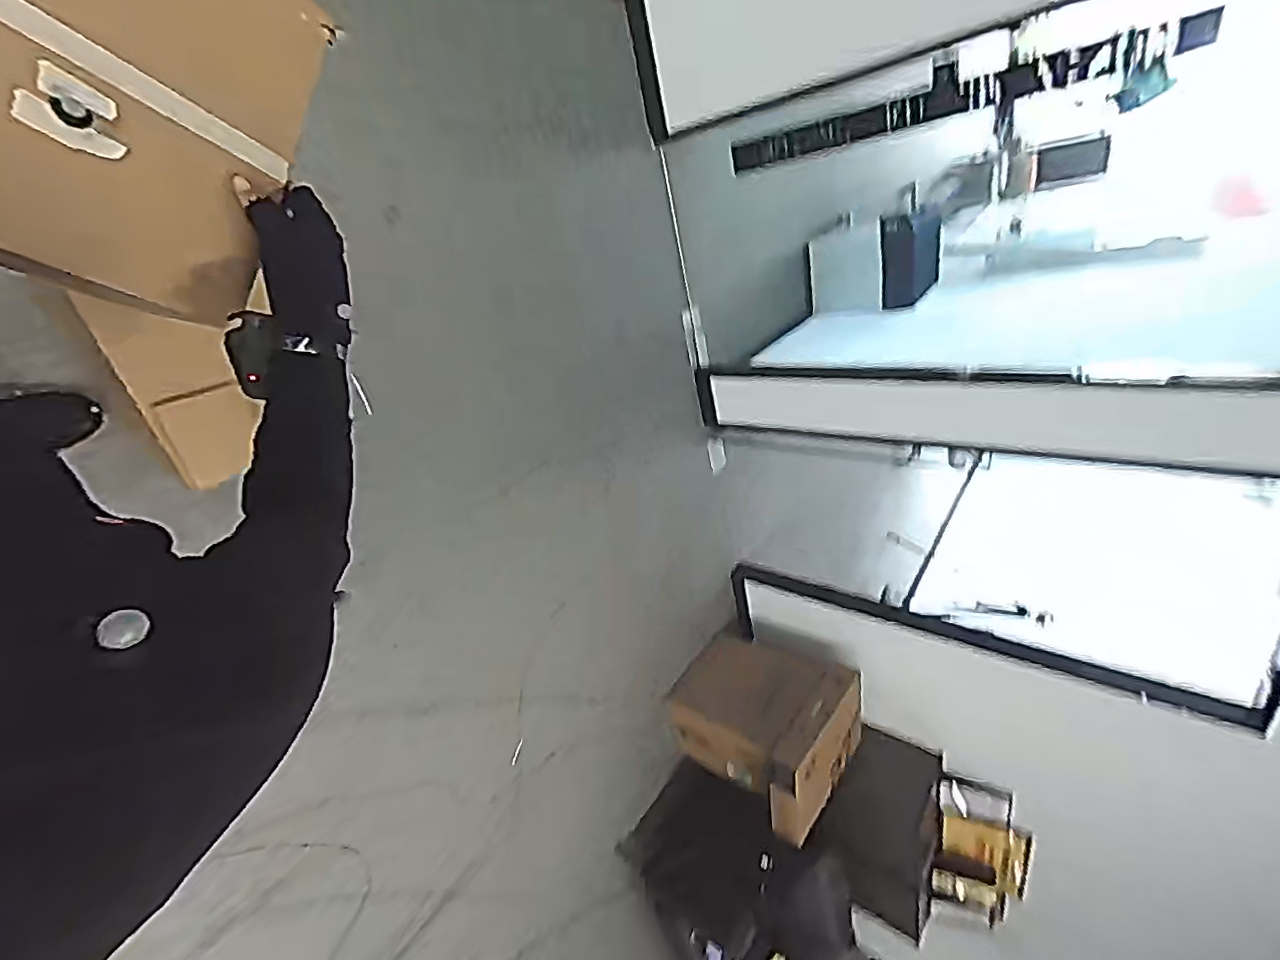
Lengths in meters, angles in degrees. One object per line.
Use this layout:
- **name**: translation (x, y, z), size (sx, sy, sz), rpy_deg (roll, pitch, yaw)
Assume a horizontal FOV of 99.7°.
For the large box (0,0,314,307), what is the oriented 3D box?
- **large box**: translation (-0.568, -0.365, 0.419), size (0.408, 0.320, 0.320), rpy_deg (17, 89, -56)
